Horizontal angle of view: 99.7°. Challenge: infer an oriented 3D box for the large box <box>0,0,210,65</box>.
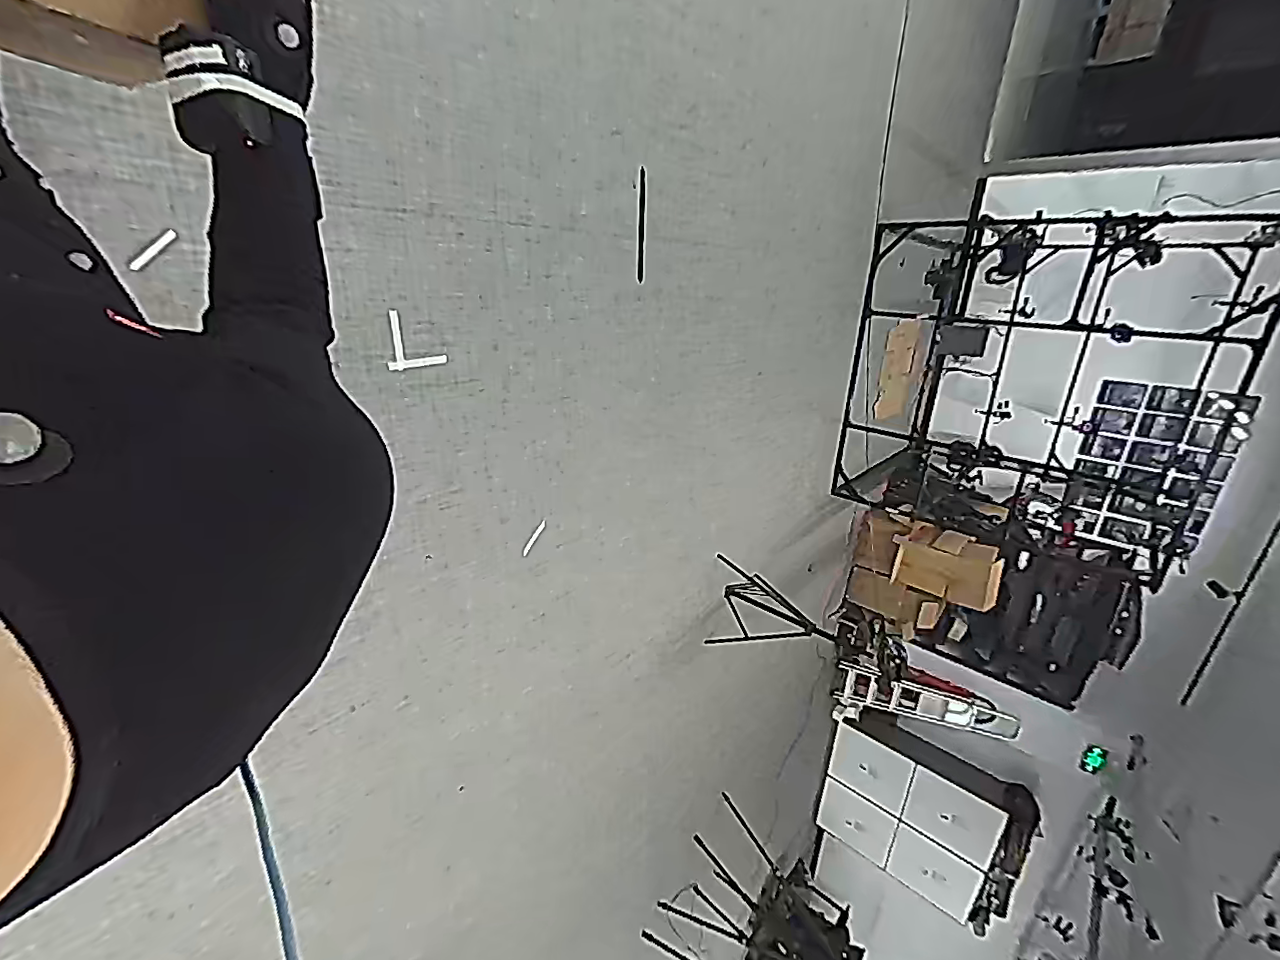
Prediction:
[{"bbox_3d":[-0.528,-0.486,0.280,0.408,0.320,0.320,-13,122,-50],"label":"large box"}]
